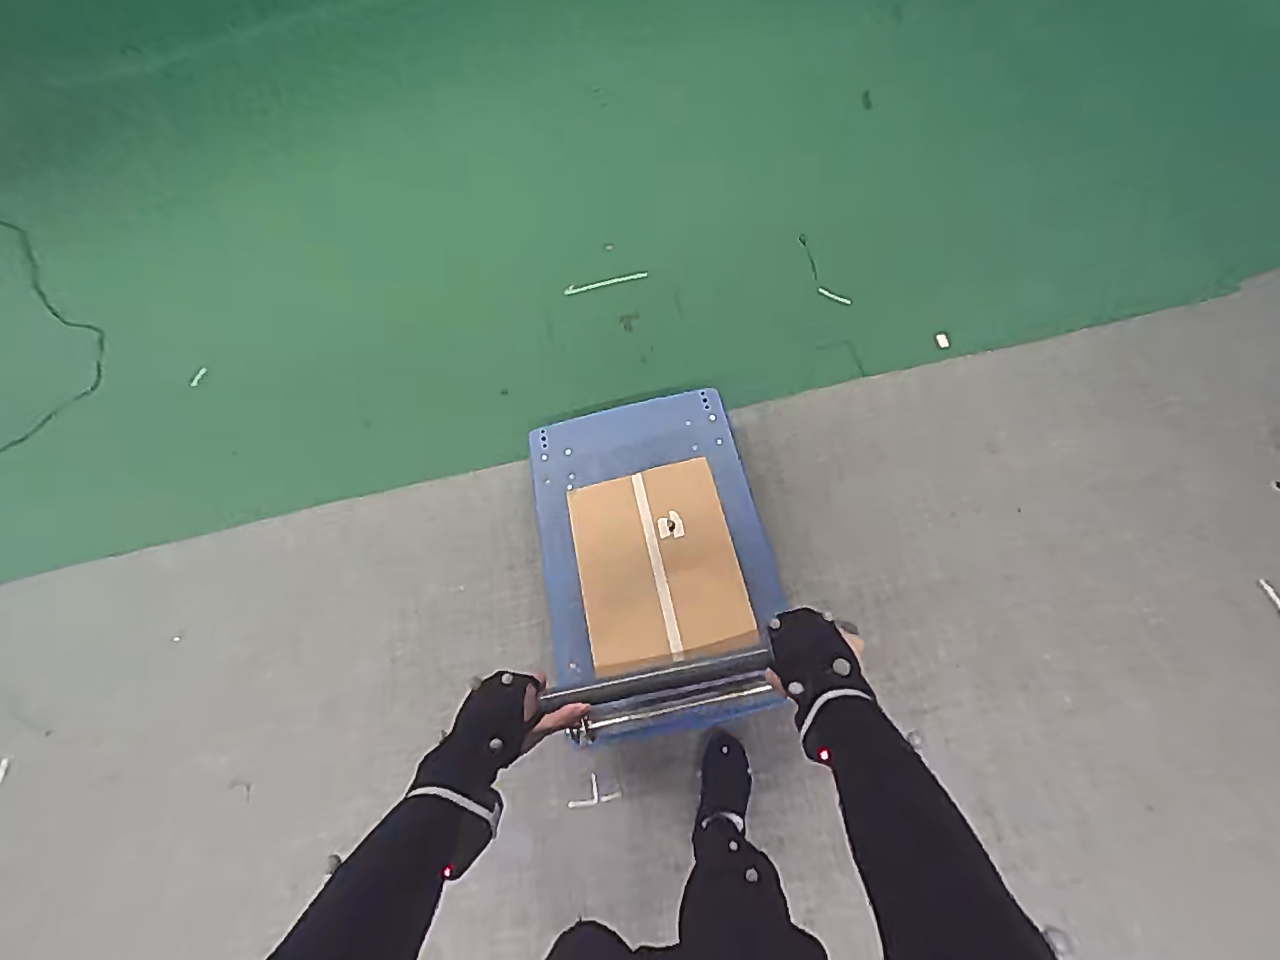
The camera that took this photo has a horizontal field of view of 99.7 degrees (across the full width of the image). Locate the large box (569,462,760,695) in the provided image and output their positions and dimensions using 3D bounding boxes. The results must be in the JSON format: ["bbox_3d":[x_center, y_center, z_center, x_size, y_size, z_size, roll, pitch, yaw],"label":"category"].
[{"bbox_3d":[0.055,0.232,1.209,0.320,0.320,0.408,-13,64,2],"label":"large box"}]
